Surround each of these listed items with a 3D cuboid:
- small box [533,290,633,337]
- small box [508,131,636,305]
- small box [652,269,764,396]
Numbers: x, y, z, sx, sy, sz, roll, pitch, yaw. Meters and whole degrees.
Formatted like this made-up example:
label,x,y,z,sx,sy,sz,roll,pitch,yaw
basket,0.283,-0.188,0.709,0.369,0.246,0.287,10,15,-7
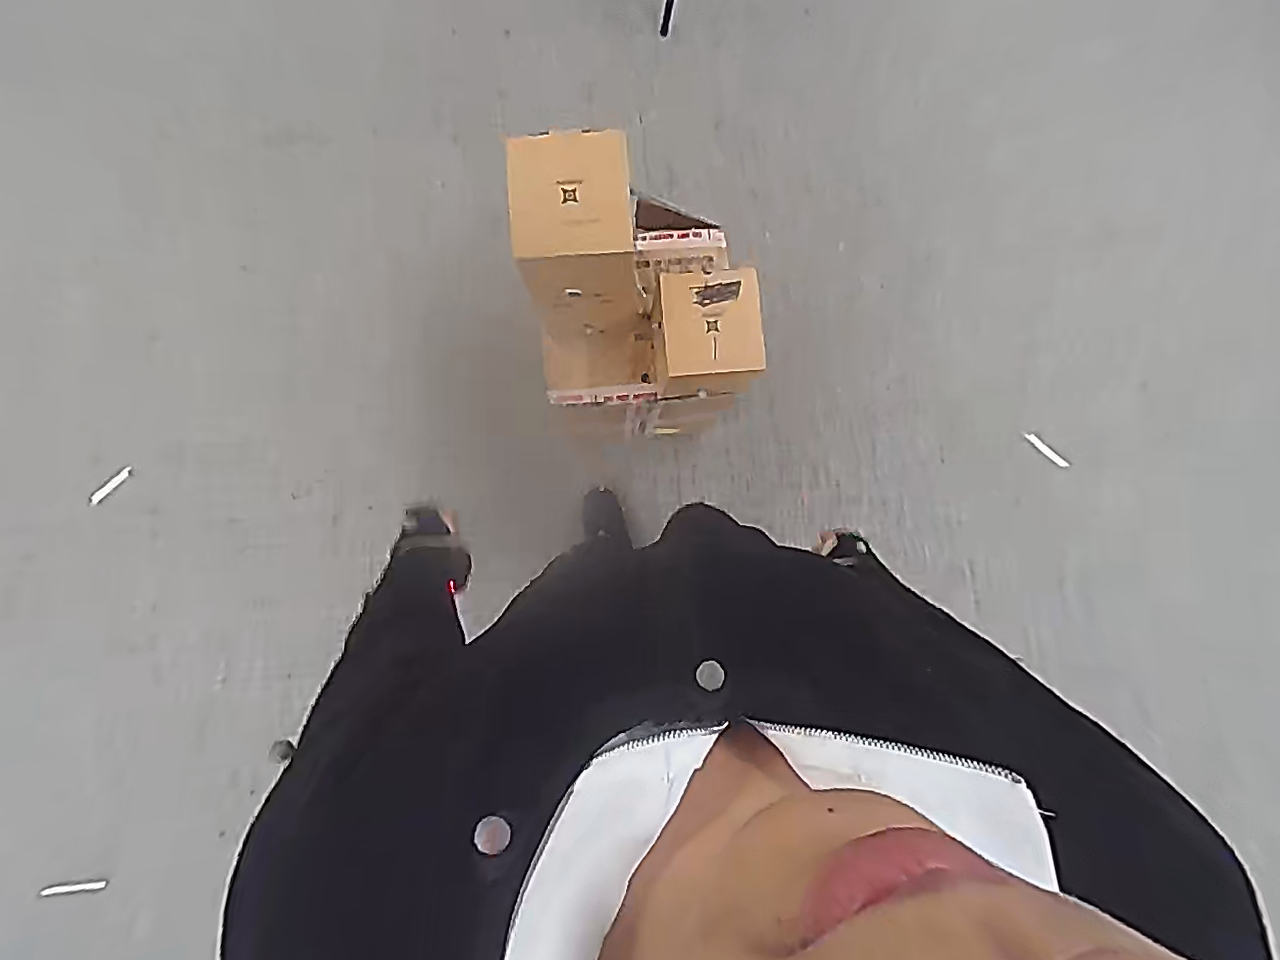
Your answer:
label,x,y,z,sx,sy,sz,roll,pitch,yaw
small box,-0.101,-0.372,0.973,0.168,0.176,0.179,-5,87,-1
small box,-0.095,-0.381,0.811,0.168,0.176,0.179,-5,87,-1
small box,0.114,-0.259,0.976,0.168,0.176,0.179,-5,88,-4
